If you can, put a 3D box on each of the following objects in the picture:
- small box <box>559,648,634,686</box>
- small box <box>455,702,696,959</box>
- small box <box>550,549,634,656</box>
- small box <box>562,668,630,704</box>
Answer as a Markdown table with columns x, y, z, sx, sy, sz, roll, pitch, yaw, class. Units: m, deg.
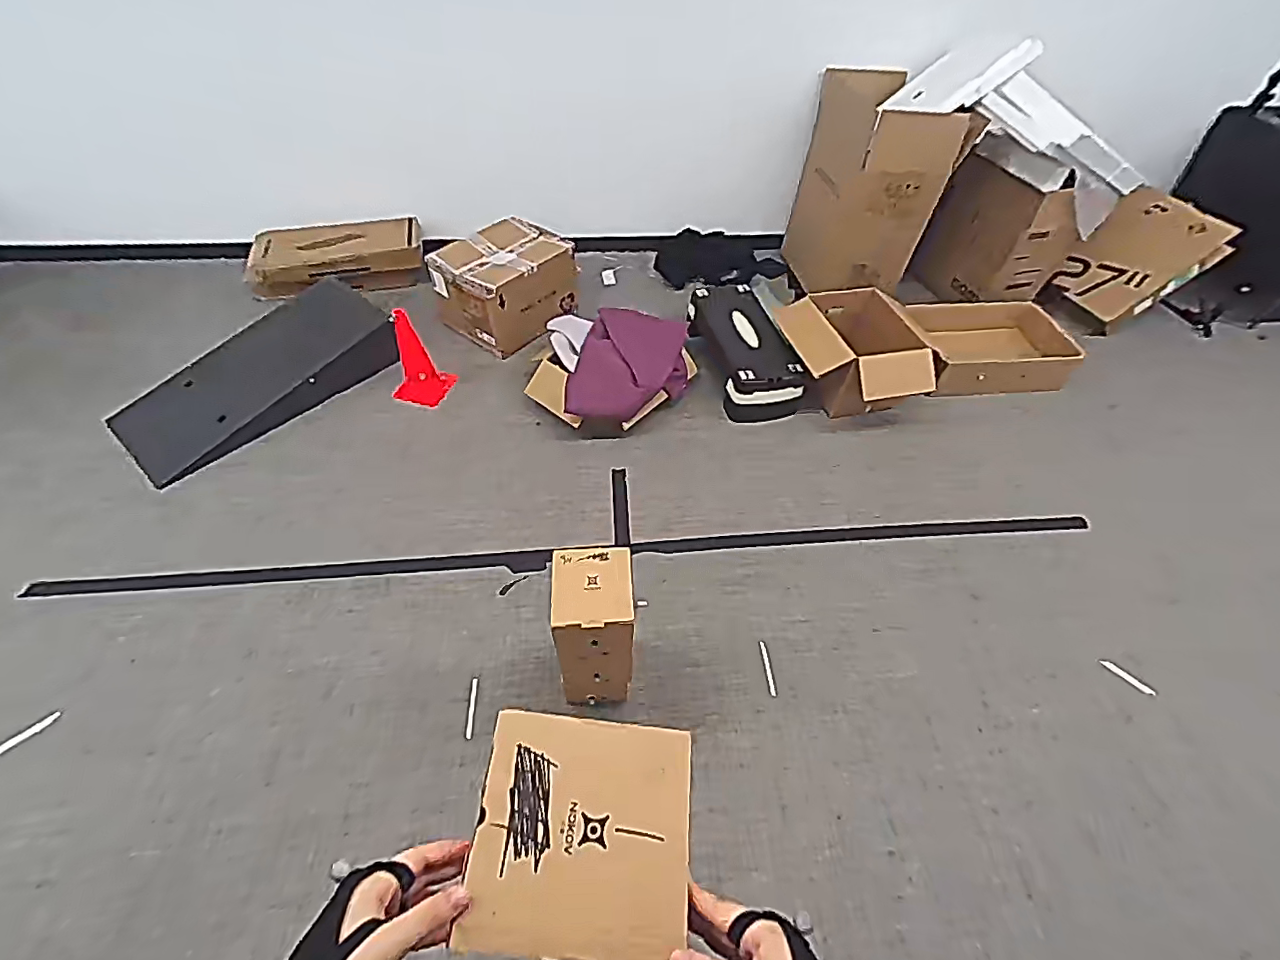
| x | y | z | sx | sy | sz | roll | pitch | yaw | class |
| --- | --- | --- | --- | --- | --- | --- | --- | --- | --- |
| -0.102 | 0.371 | 1.286 | 0.168 | 0.176 | 0.179 | -3 | 50 | -3 | small box |
| -0.051 | 0.320 | 0.499 | 0.179 | 0.176 | 0.168 | 8 | 53 | -4 | small box |
| -0.098 | 0.268 | 1.158 | 0.168 | 0.176 | 0.179 | -2 | 51 | -3 | small box |
| -0.115 | 0.470 | 1.418 | 0.168 | 0.176 | 0.179 | -3 | 52 | -4 | small box |
